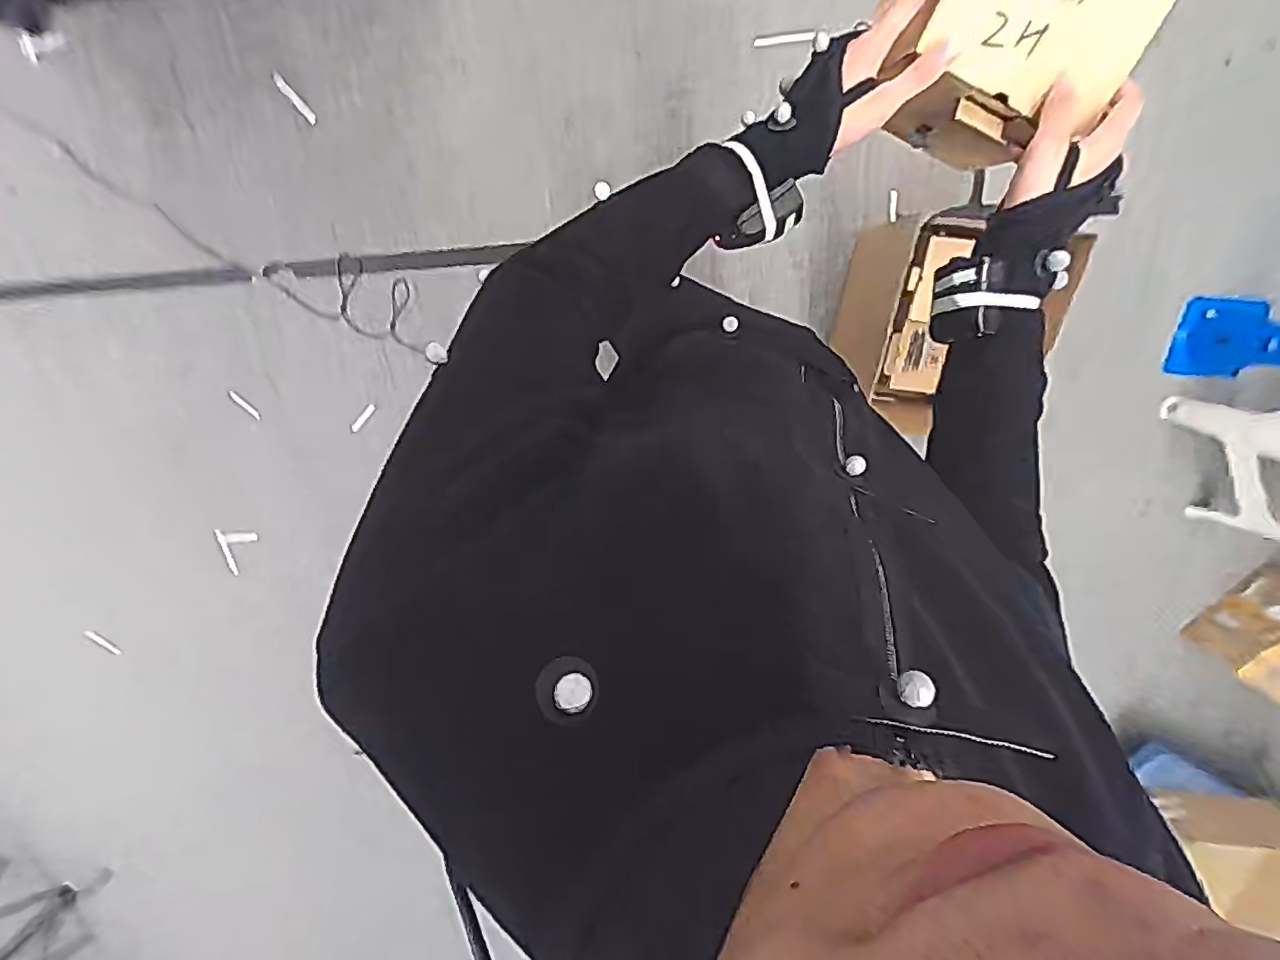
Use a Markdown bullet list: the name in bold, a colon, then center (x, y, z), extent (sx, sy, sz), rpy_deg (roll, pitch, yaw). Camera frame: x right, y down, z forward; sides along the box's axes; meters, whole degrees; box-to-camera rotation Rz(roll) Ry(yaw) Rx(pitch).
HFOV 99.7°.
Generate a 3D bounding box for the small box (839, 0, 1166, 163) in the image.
- **small box**: center (0.300, -0.400, 0.456), extent (0.168, 0.176, 0.179), rpy_deg (20, 112, -11)
